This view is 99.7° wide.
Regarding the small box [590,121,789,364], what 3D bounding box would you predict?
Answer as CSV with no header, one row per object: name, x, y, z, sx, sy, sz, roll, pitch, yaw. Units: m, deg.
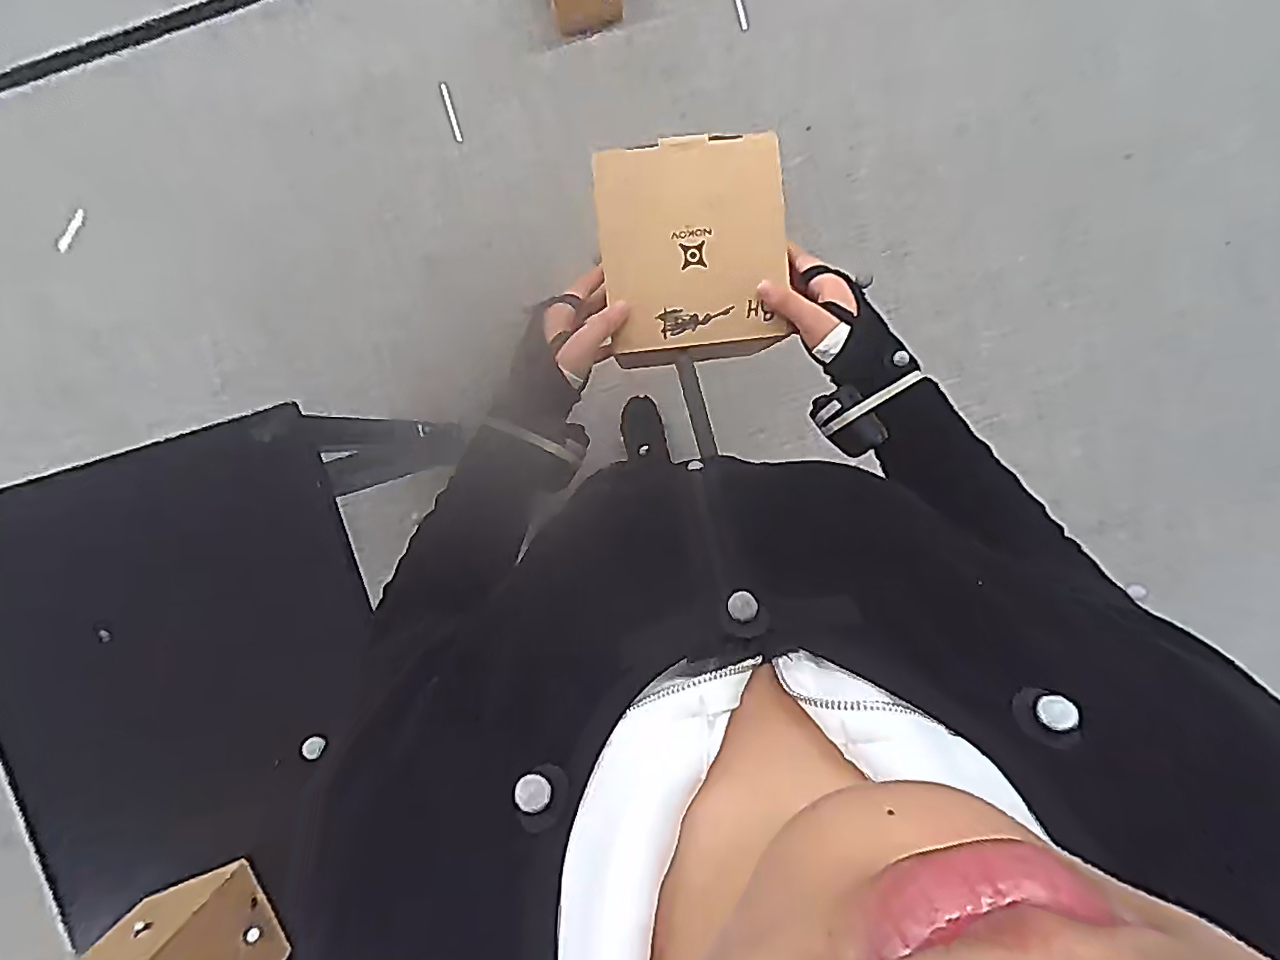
small box,0.045,-0.224,0.556,0.168,0.176,0.179,-6,96,2

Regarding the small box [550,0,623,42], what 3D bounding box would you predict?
small box,-0.145,-1.244,1.334,0.179,0.176,0.168,-17,93,3
